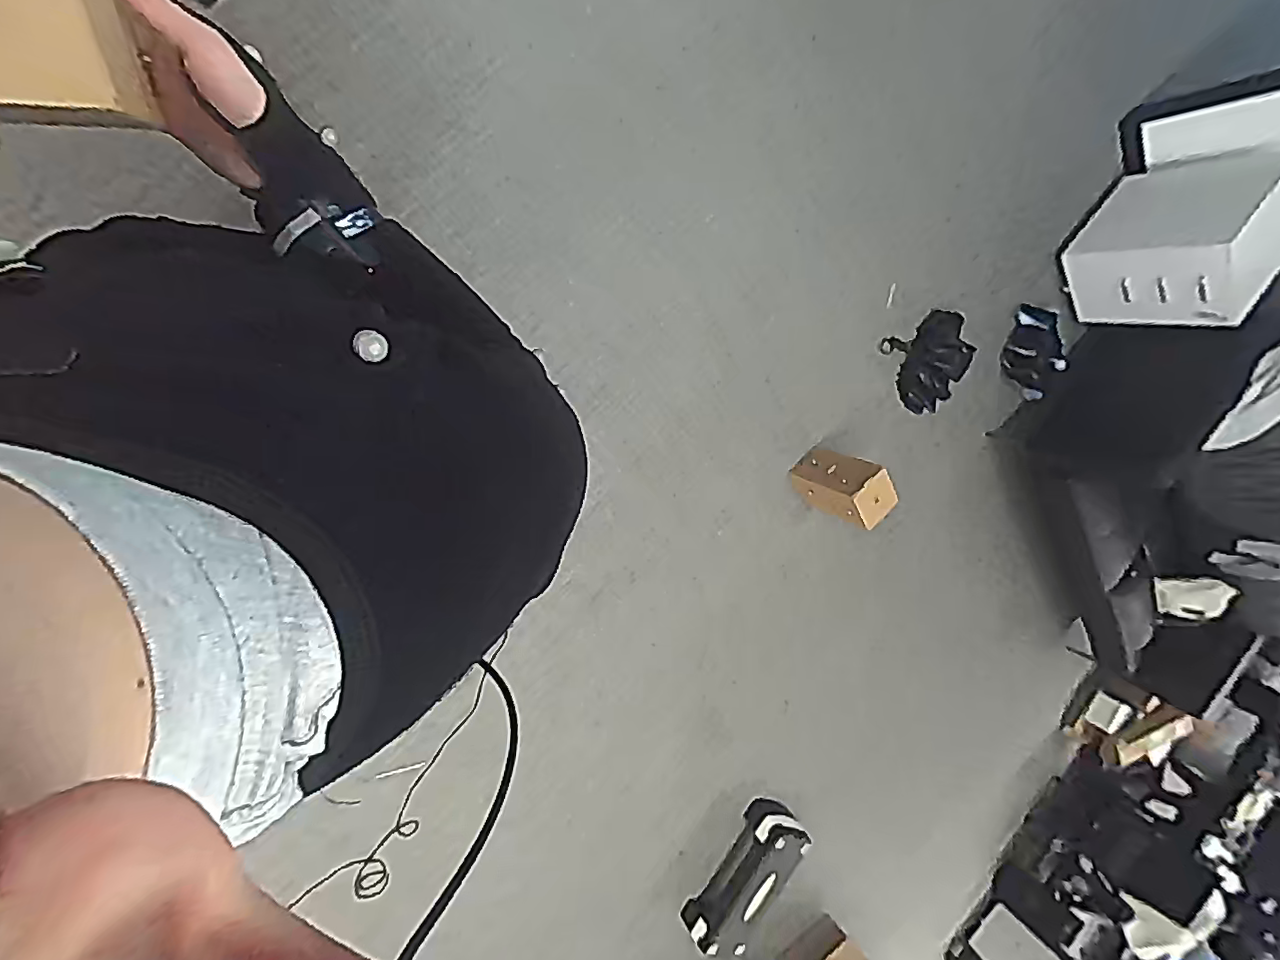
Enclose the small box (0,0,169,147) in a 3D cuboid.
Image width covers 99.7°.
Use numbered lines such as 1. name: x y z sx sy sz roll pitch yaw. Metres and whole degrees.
1. small box: -0.362 -0.265 0.254 0.168 0.176 0.179 -15 124 -27
